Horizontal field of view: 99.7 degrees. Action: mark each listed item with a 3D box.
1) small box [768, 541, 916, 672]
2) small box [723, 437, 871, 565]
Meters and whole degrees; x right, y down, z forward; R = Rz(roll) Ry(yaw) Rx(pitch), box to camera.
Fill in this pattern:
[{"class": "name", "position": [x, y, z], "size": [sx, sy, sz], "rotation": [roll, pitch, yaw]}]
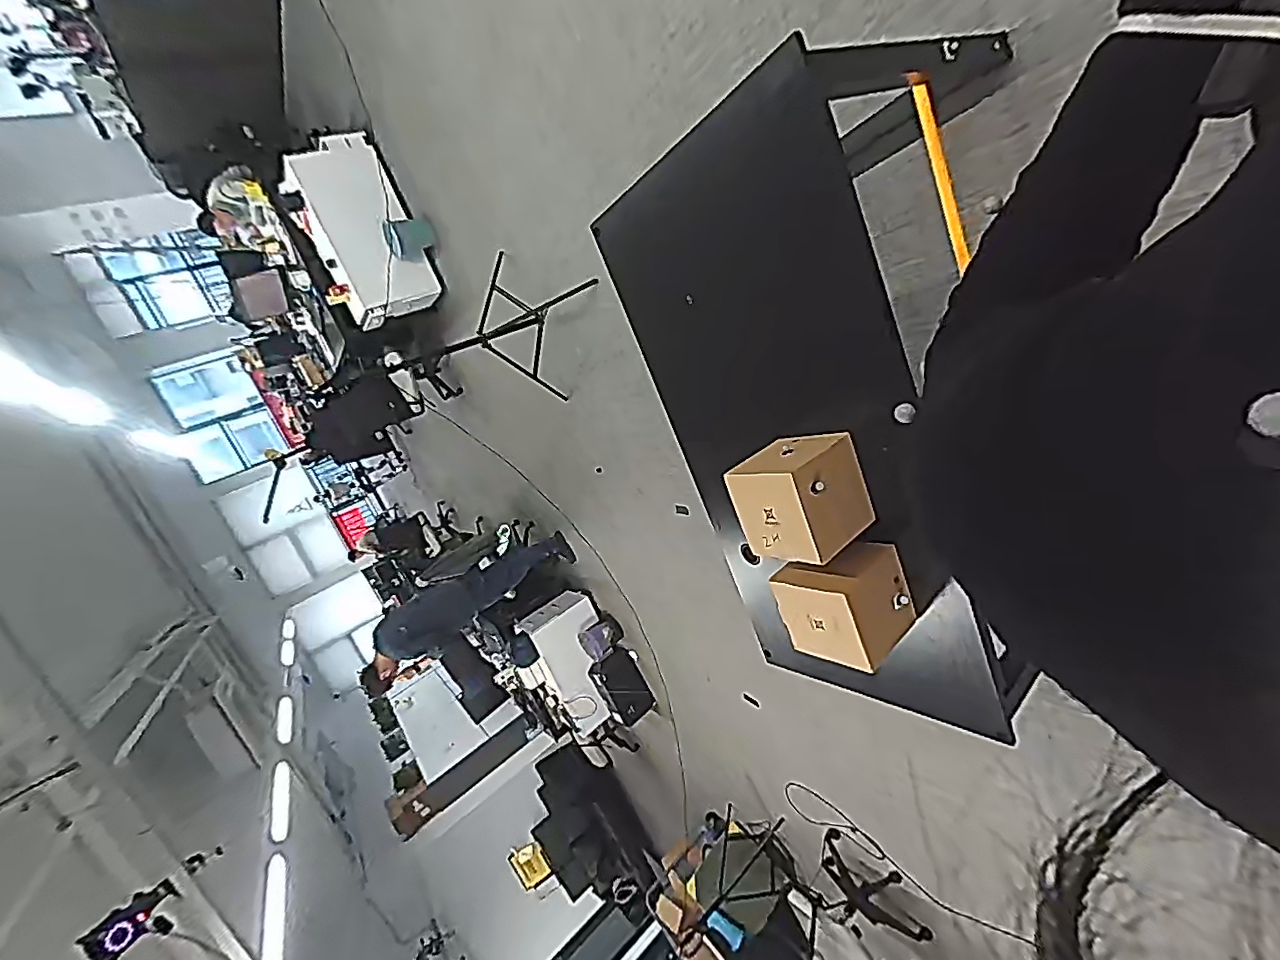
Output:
[{"class": "small box", "position": [0.381, 0.225, 1.023], "size": [0.179, 0.176, 0.168], "rotation": [-4, 114, 57]}, {"class": "small box", "position": [0.287, 0.030, 0.985], "size": [0.168, 0.176, 0.179], "rotation": [0, 116, 58]}]
